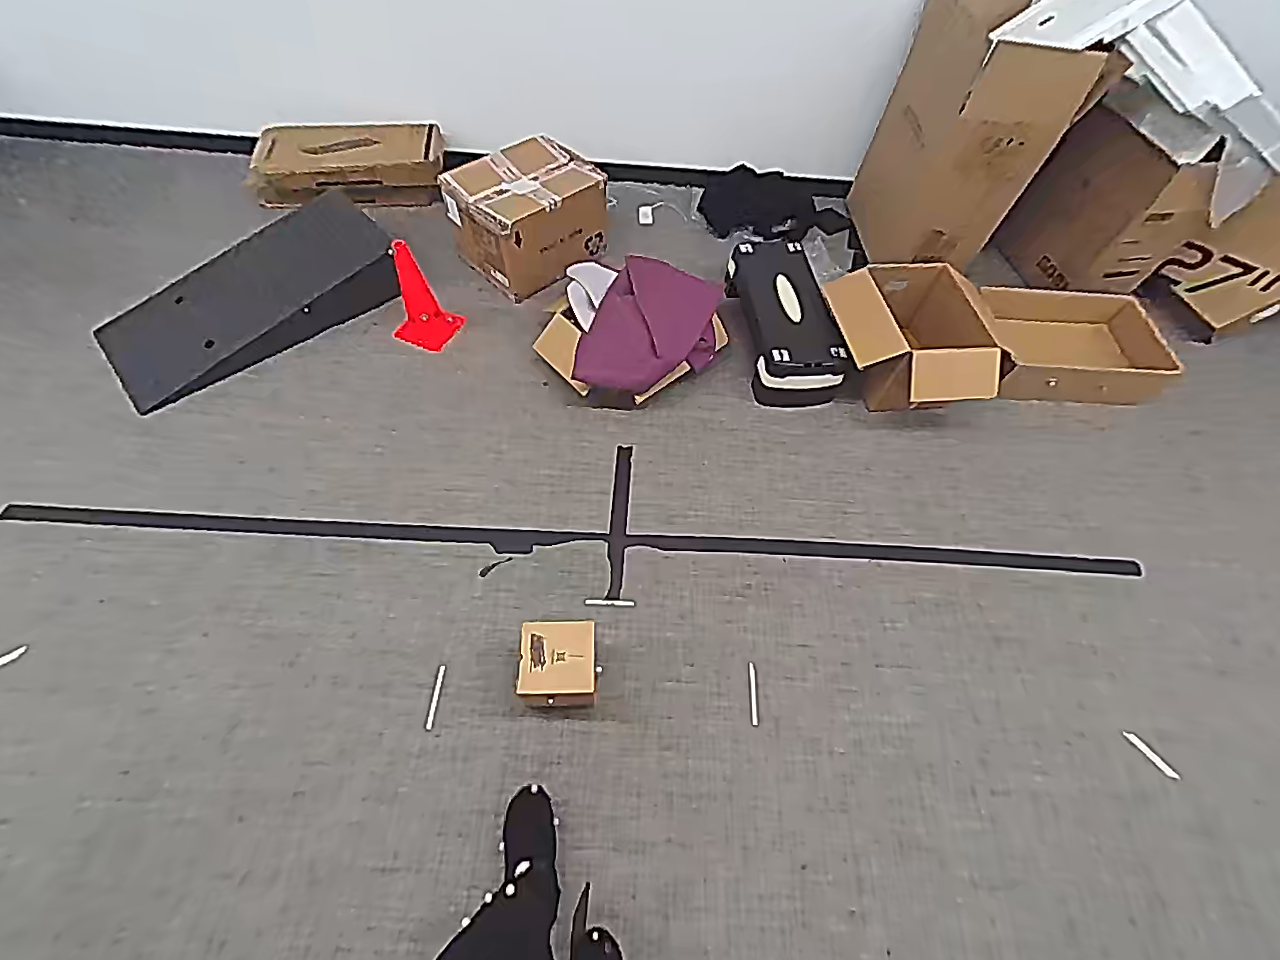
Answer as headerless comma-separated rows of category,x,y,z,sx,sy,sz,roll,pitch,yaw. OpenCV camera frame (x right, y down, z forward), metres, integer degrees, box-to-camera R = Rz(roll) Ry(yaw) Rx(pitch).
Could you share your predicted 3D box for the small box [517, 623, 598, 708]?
small box,-0.194,0.454,1.313,0.179,0.176,0.168,1,58,-4
